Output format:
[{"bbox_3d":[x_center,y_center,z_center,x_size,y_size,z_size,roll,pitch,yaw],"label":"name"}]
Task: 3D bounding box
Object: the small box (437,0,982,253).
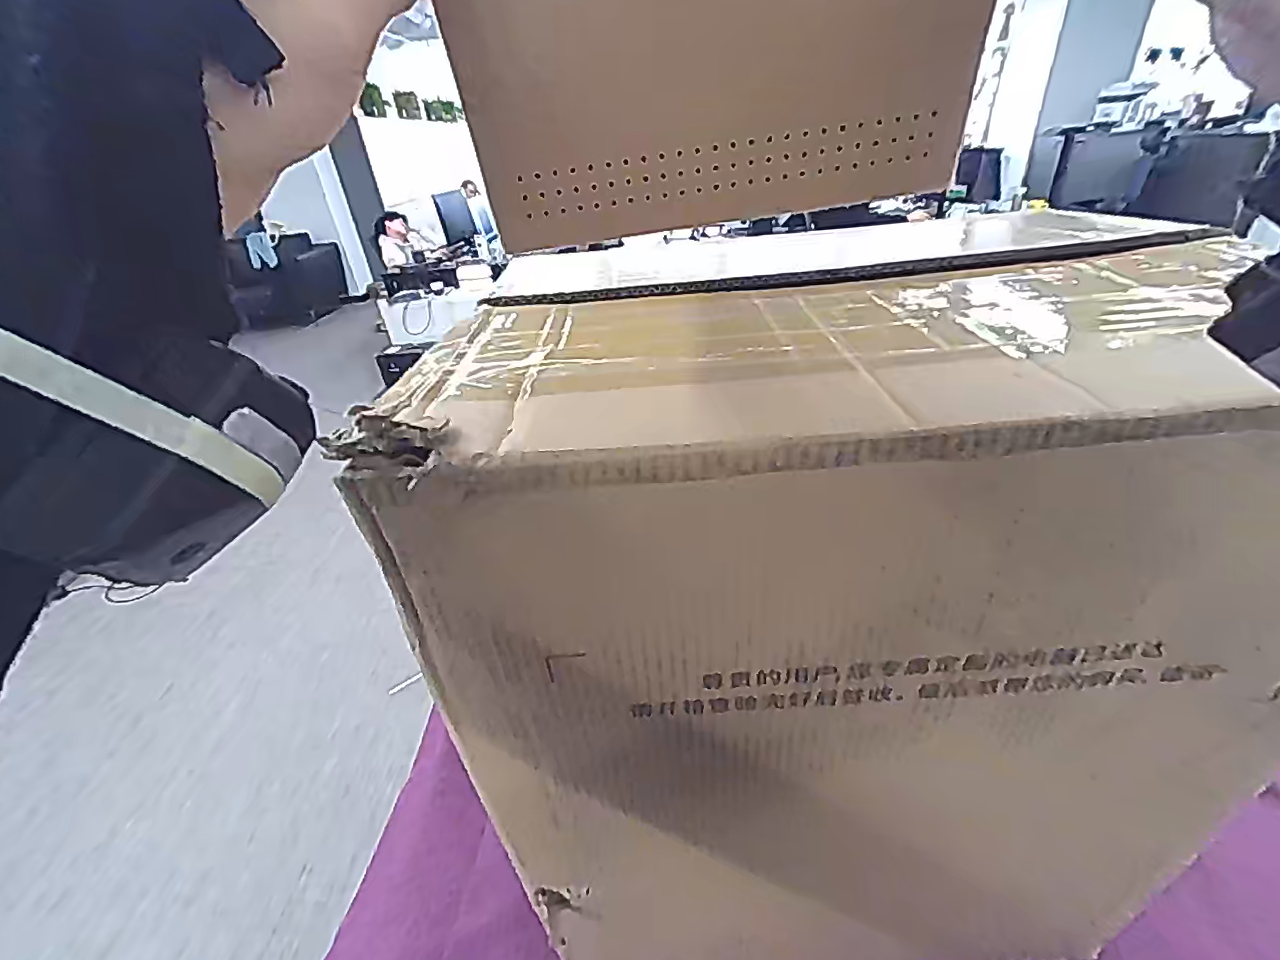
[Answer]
[{"bbox_3d":[0.020,-0.210,0.211,0.179,0.176,0.168,-8,43,2],"label":"small box"}]
